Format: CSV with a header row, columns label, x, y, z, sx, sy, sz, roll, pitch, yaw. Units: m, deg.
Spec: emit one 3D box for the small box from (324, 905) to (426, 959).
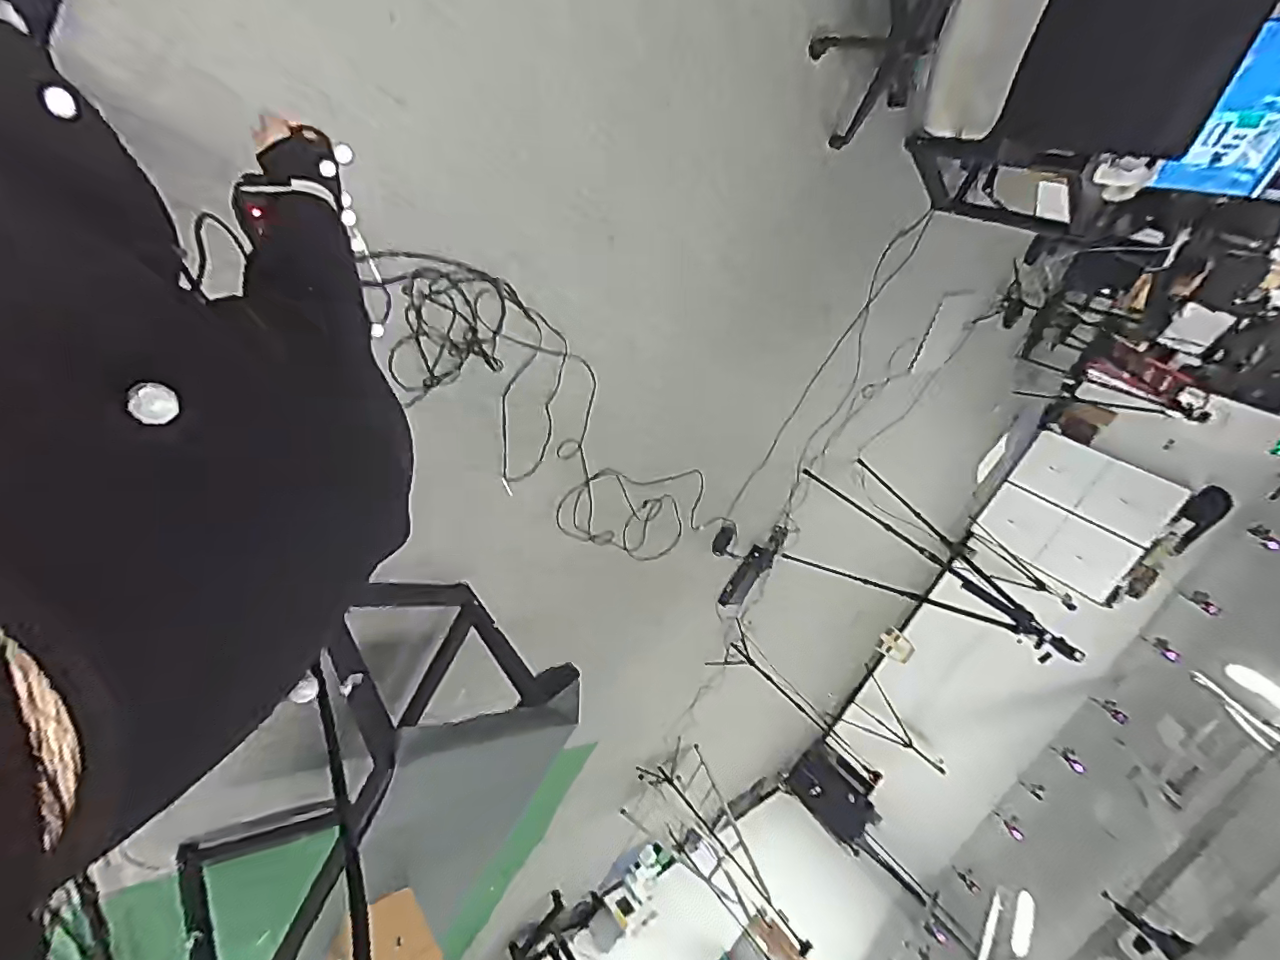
label,x,y,z,sx,sy,sz,roll,pitch,yaw
small box,-0.685,1.244,1.375,0.179,0.176,0.168,11,110,-51
